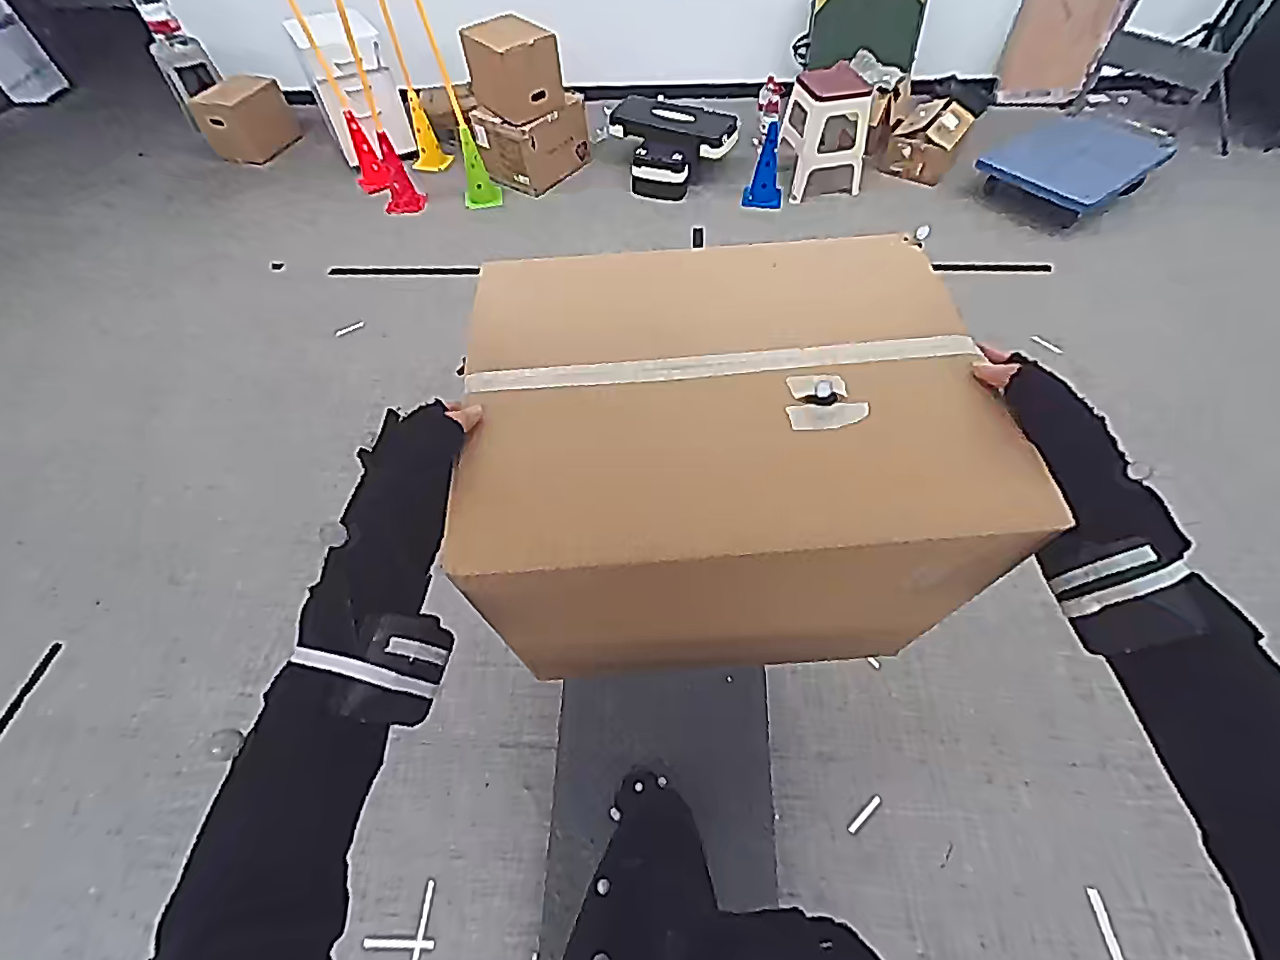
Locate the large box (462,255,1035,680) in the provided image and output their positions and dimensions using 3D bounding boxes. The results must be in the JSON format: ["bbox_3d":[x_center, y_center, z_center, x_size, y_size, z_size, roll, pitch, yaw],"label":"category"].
[{"bbox_3d":[0.067,0.002,0.570,0.408,0.320,0.320,-4,58,-1],"label":"large box"}]
